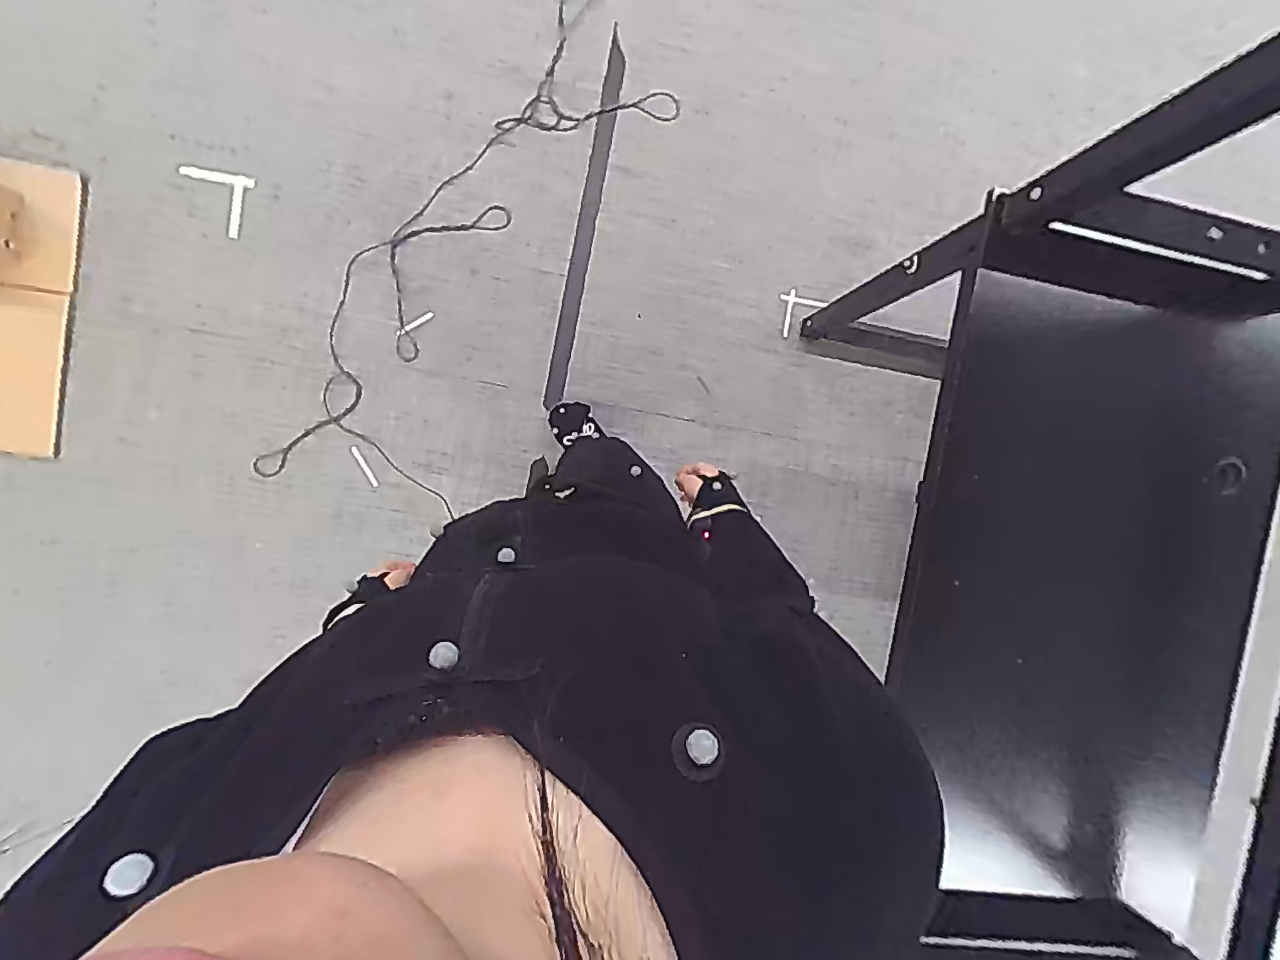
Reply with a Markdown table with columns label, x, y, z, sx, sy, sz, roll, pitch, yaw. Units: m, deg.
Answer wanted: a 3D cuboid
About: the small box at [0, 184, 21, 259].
| label | x | y | z | sx | sy | sz | roll | pitch | yaw |
| --- | --- | --- | --- | --- | --- | --- | --- | --- | --- |
| small box | -1.546 | -0.605 | 1.196 | 0.179 | 0.176 | 0.168 | 5 | 92 | -7 |
